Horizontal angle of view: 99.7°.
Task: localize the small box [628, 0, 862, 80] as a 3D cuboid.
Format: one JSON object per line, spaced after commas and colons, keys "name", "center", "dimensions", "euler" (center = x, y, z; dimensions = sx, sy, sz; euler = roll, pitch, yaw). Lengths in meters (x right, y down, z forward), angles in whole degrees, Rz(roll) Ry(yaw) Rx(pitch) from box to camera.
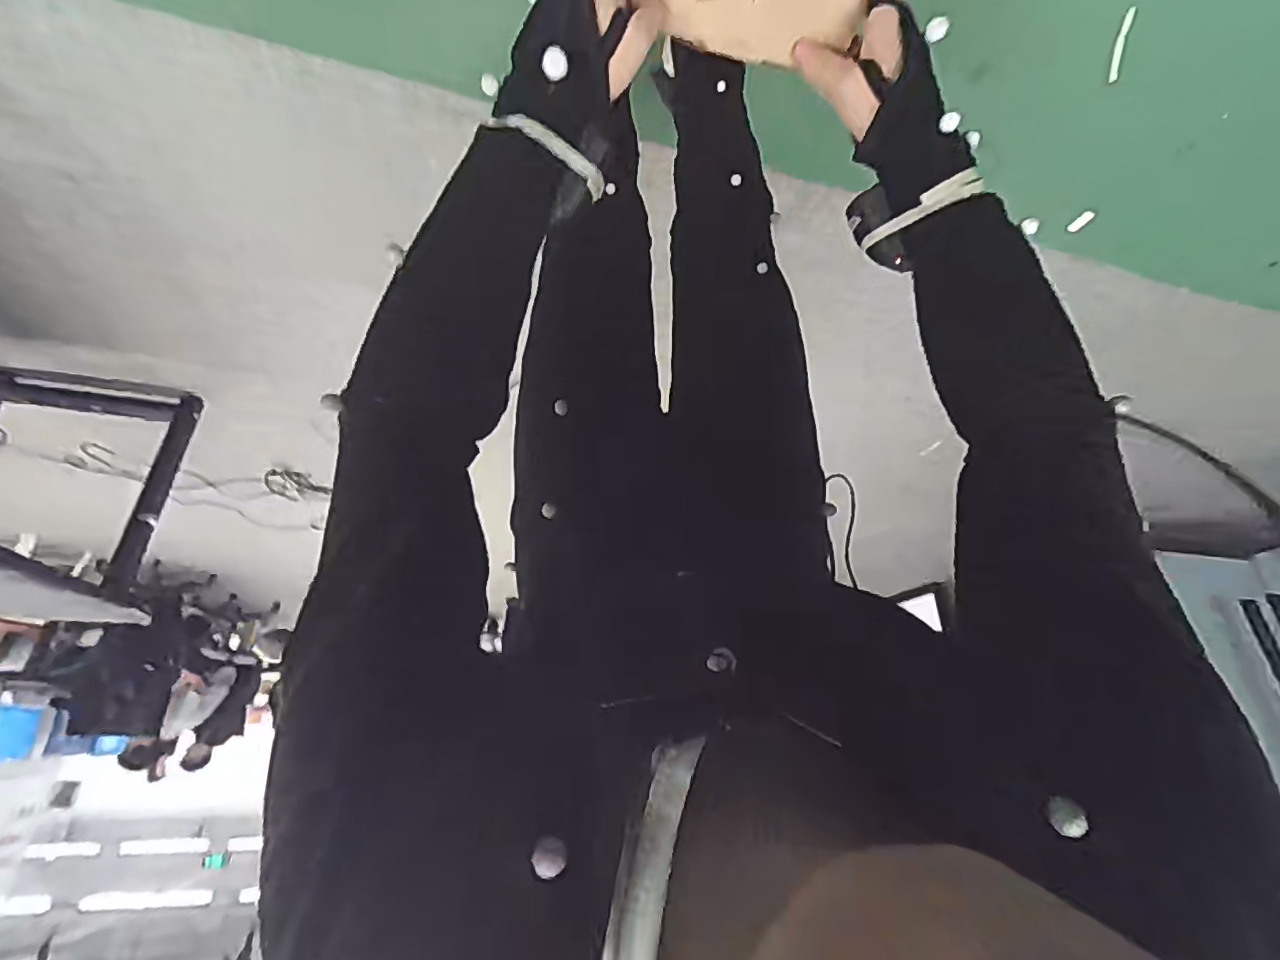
{"name": "small box", "center": [0.083, -0.437, 0.384], "dimensions": [0.168, 0.176, 0.179], "euler": [6, 144, -14]}
